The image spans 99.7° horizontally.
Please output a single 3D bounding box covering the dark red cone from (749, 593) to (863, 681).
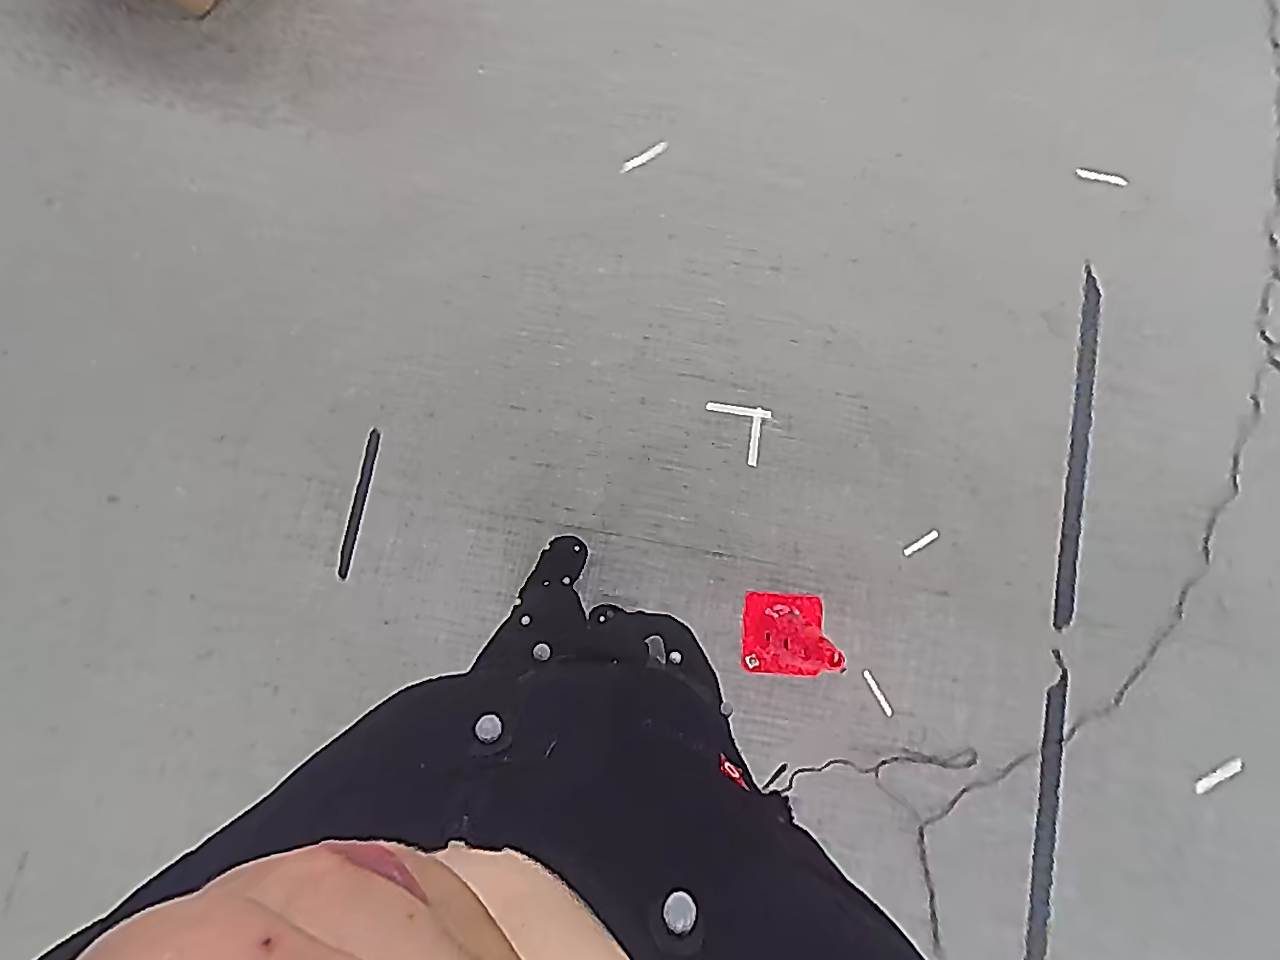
[{"bbox_3d":[0.369,0.357,1.149,0.201,0.394,0.202,3,82,-2],"label":"dark red cone"}]
